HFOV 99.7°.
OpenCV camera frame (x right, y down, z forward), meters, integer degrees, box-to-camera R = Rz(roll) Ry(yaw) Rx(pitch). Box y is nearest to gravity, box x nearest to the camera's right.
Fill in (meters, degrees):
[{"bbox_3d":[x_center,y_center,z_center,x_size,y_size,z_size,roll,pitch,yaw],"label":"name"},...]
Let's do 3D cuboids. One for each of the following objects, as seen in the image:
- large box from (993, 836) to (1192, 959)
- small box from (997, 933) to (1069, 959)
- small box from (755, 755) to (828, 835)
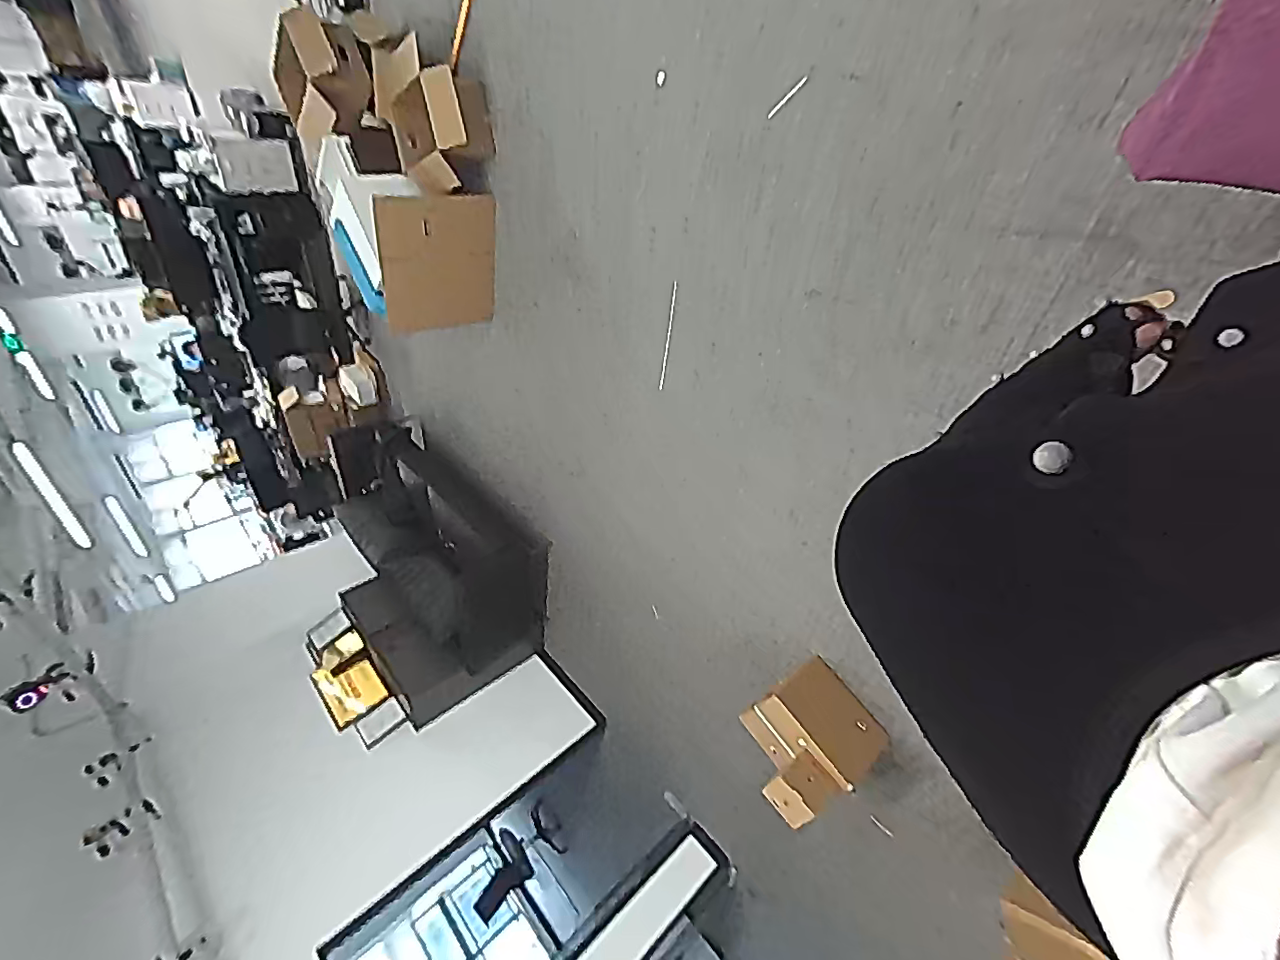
[{"bbox_3d":[1.338,1.368,1.600,0.408,0.320,0.320,-2,109,49],"label":"large box"},{"bbox_3d":[1.105,1.421,1.499,0.179,0.176,0.168,-2,107,50],"label":"small box"},{"bbox_3d":[0.565,1.161,2.002,0.168,0.176,0.179,46,137,25],"label":"small box"}]
